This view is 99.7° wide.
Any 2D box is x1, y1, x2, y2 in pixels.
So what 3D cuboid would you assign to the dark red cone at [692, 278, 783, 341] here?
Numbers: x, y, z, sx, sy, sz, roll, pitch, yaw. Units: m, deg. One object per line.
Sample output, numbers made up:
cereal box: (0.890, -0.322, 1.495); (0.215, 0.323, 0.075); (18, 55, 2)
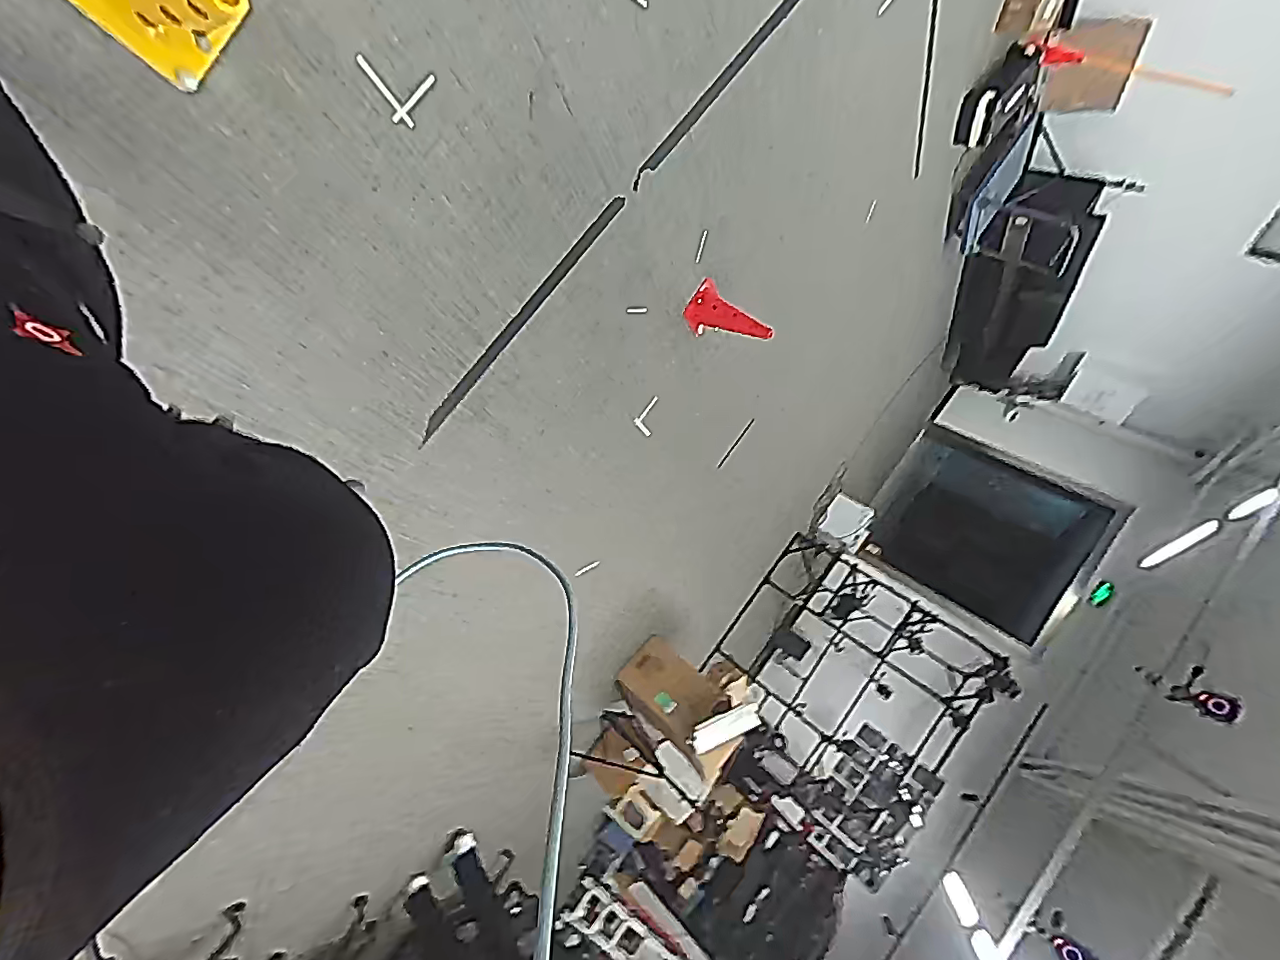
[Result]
dark red cone: (0.423, -0.667, 2.251); (0.202, 0.394, 0.201); (-57, 149, 0)
